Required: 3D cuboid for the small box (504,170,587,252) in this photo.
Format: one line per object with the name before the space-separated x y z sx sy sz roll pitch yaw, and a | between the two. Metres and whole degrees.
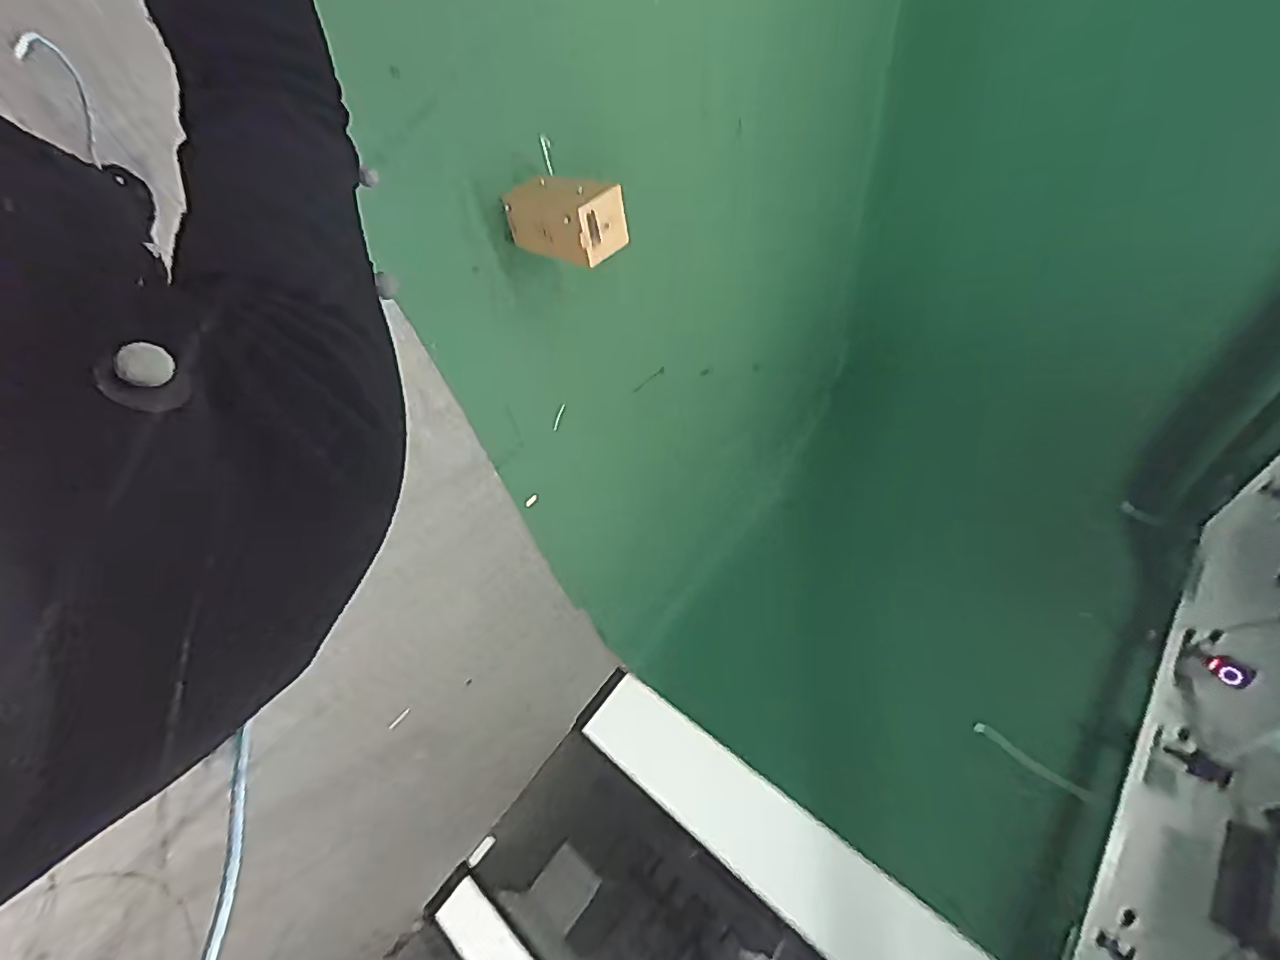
small box | -0.294 -0.826 1.654 0.179 0.176 0.168 -45 146 -26
